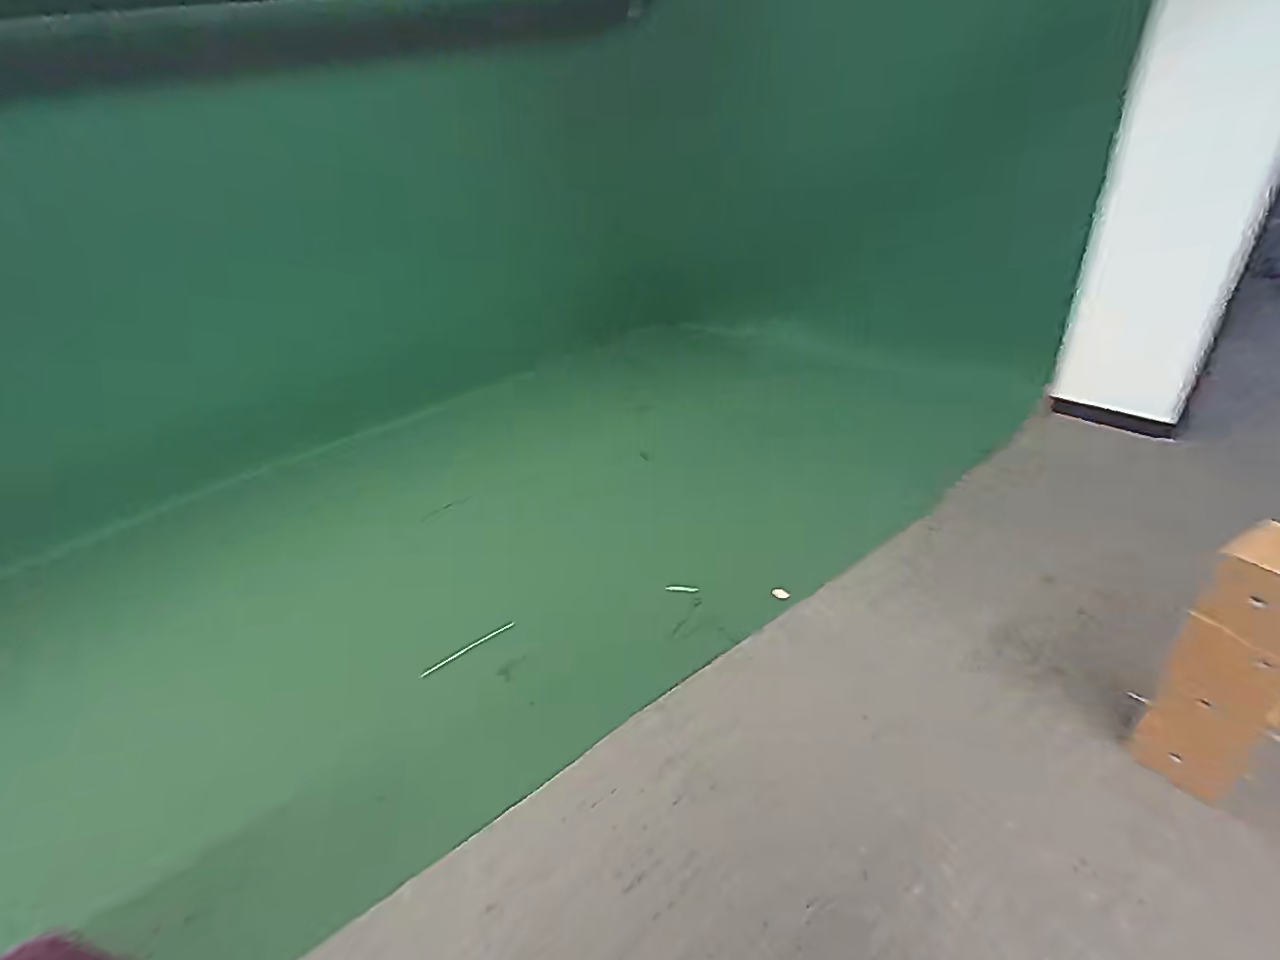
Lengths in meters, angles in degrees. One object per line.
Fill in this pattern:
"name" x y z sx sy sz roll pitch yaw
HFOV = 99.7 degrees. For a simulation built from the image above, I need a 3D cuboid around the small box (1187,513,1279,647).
"small box" 1.243 0.200 1.053 0.168 0.176 0.179 -22 33 -16
